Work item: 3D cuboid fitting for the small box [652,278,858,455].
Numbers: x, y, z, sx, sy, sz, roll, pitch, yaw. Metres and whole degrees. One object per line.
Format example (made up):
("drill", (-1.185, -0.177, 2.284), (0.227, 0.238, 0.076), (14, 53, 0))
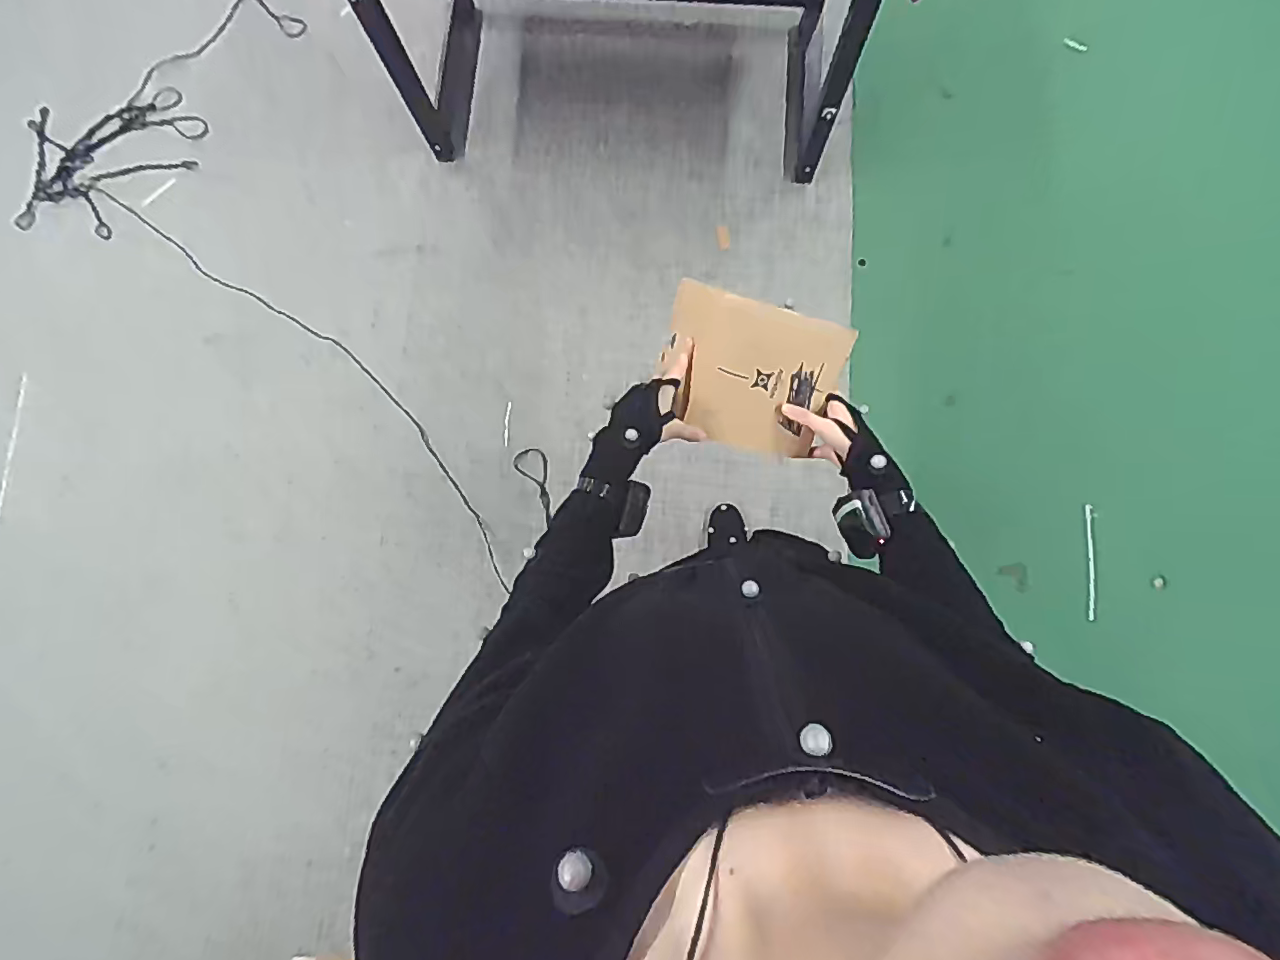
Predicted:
("small box", (0.131, -0.150, 0.689), (0.179, 0.176, 0.168), (10, 112, -16))
